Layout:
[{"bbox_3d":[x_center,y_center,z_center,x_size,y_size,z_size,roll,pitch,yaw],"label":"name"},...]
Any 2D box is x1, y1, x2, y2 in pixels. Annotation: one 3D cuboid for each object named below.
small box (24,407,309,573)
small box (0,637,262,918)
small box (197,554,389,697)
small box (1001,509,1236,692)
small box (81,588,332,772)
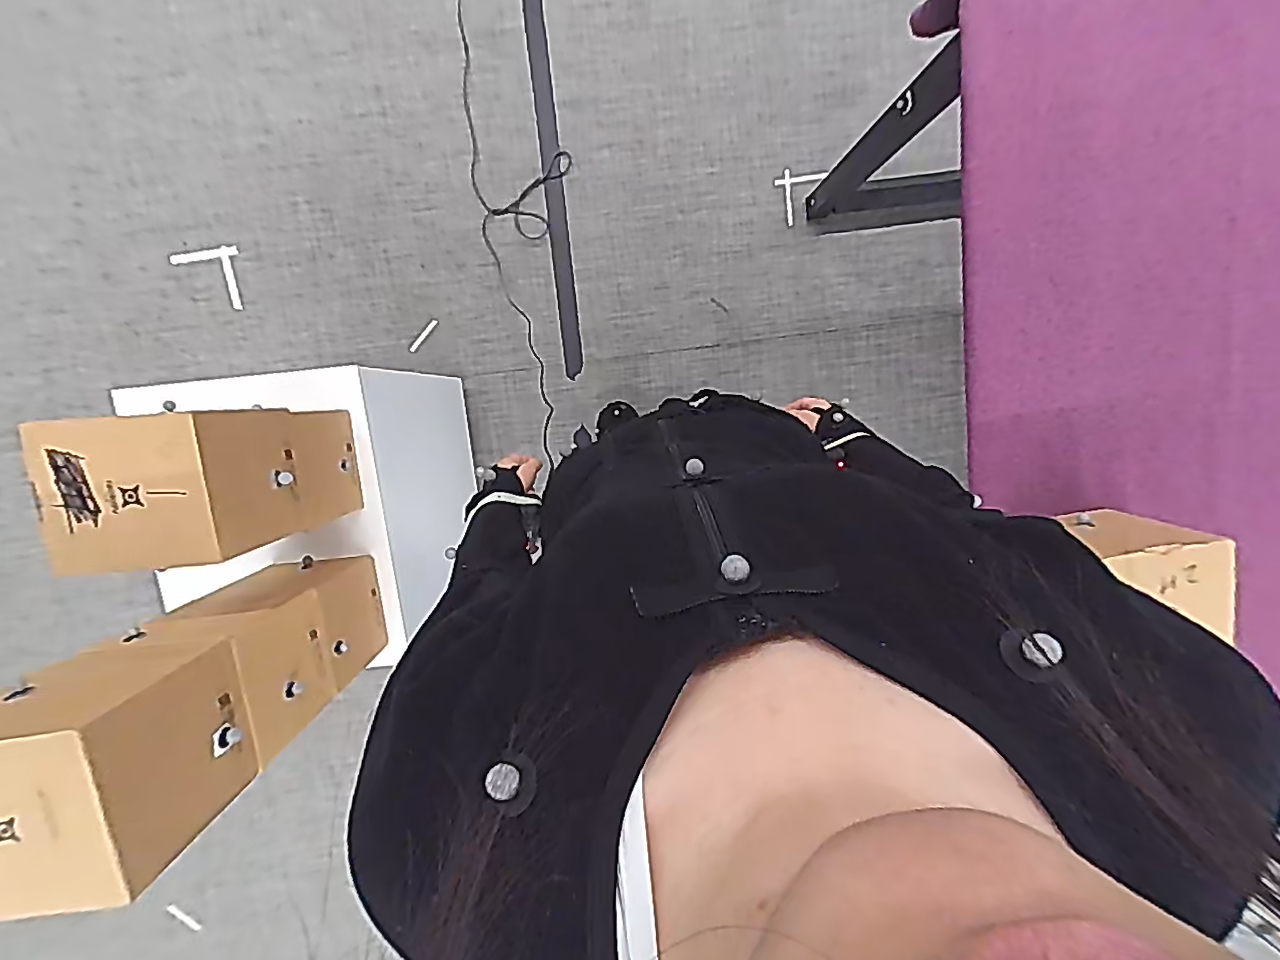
[{"bbox_3d":[-0.535,0.001,0.639,0.179,0.176,0.168,-4,100,-2],"label":"small box"},{"bbox_3d":[-0.517,0.269,0.519,0.179,0.176,0.168,-7,100,0],"label":"small box"},{"bbox_3d":[-0.523,0.222,0.840,0.179,0.176,0.168,-5,100,1],"label":"small box"},{"bbox_3d":[0.613,0.148,0.715,0.168,0.176,0.179,-8,99,-1],"label":"small box"},{"bbox_3d":[-0.518,0.246,0.679,0.179,0.176,0.168,-7,99,0],"label":"small box"}]
